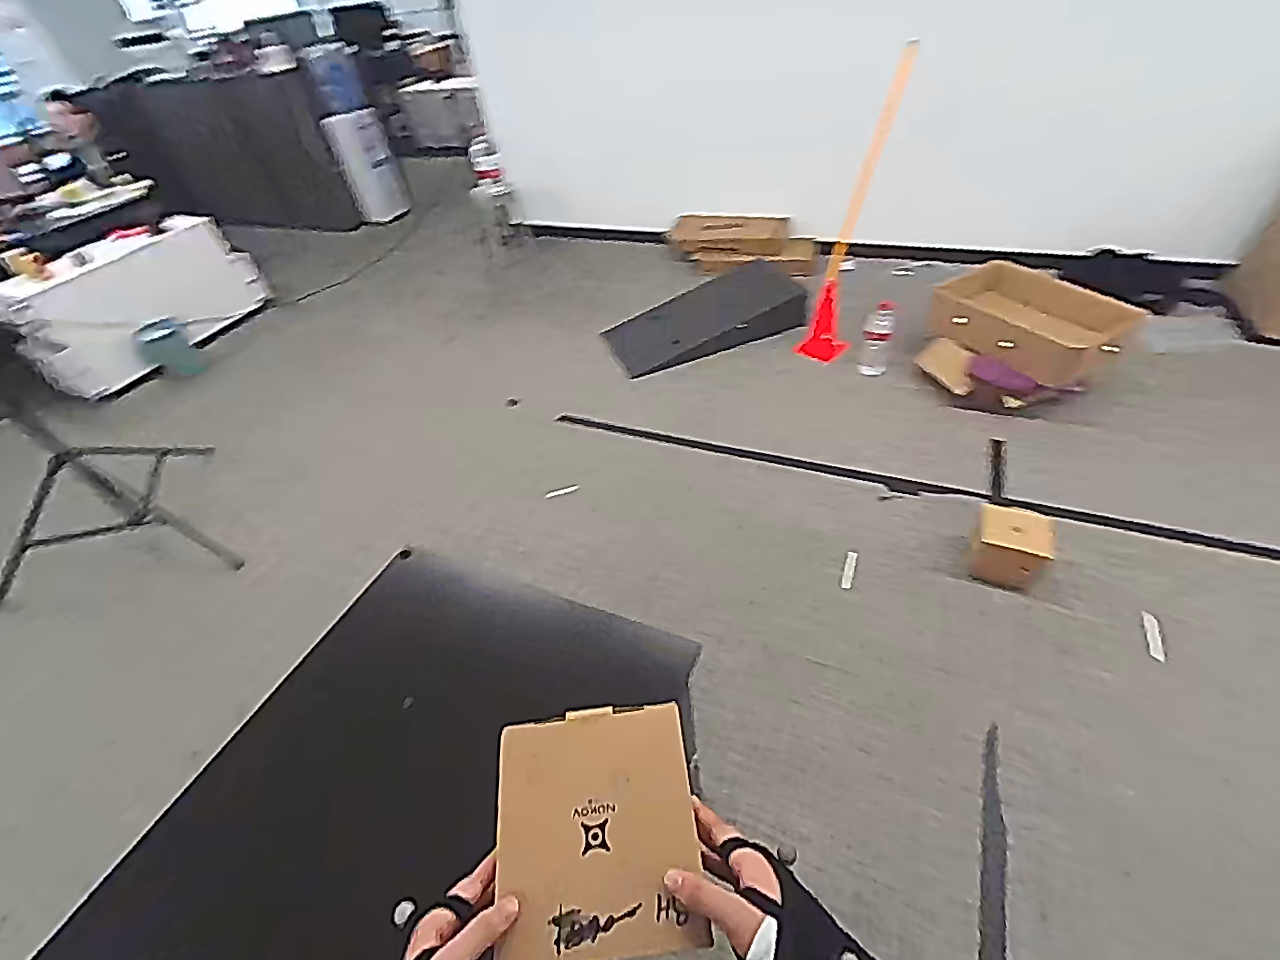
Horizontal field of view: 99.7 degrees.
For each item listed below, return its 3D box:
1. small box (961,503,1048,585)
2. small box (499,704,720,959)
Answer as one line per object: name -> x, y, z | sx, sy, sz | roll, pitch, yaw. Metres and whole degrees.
small box -> 1.110, 0.199, 1.657 | 0.179, 0.176, 0.168 | 12, 47, 21
small box -> -0.024, 0.335, 0.509 | 0.168, 0.176, 0.179 | -8, 51, 0
